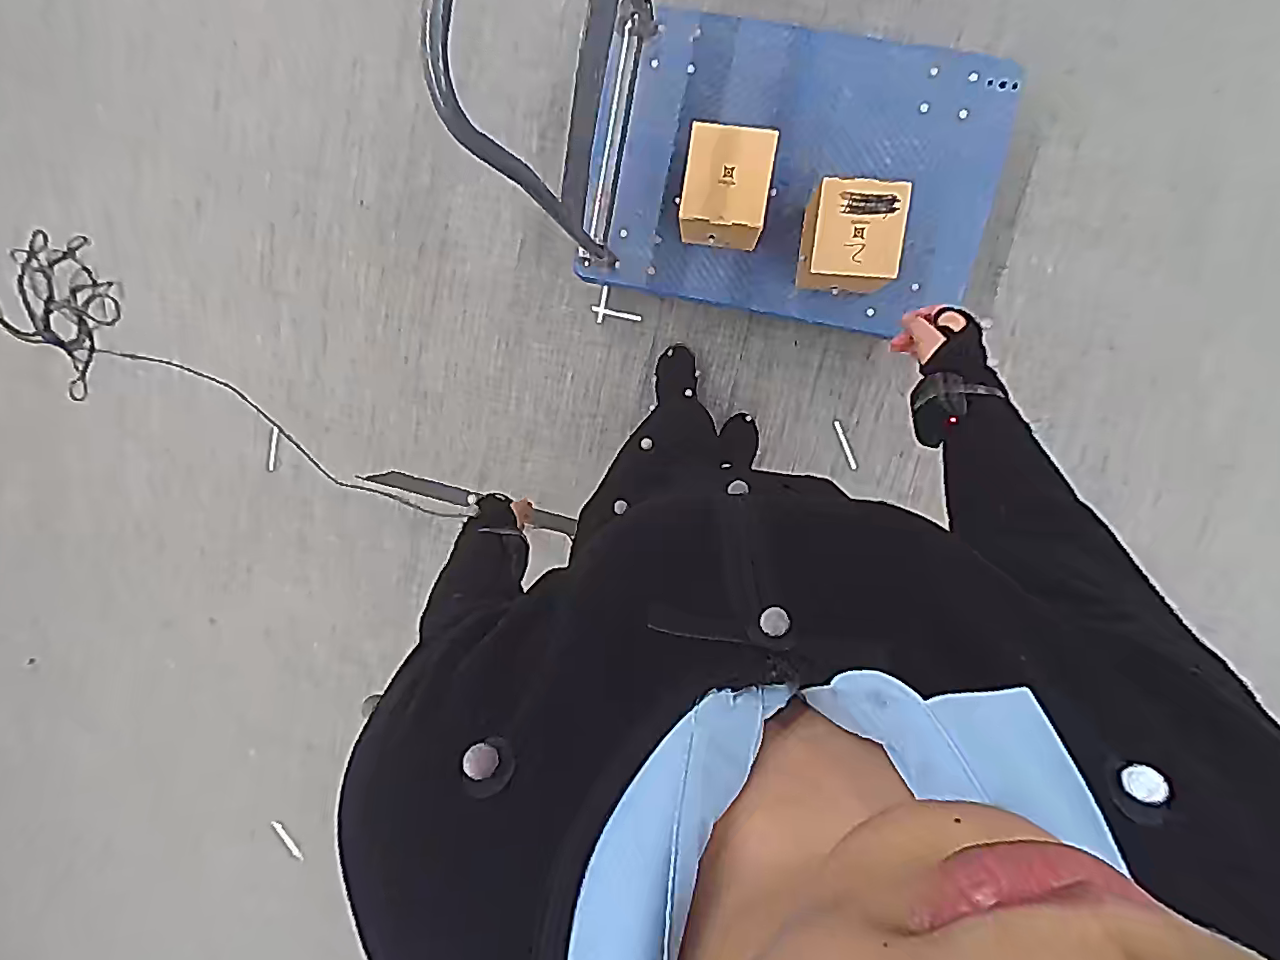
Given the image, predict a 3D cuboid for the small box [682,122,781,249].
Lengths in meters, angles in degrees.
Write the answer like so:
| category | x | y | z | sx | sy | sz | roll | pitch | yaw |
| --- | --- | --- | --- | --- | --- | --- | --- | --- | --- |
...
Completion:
| category | x | y | z | sx | sy | sz | roll | pitch | yaw |
| --- | --- | --- | --- | --- | --- | --- | --- | --- | --- |
| small box | 0.180 | -0.597 | 1.113 | 0.168 | 0.176 | 0.179 | 9 | 100 | 4 |
